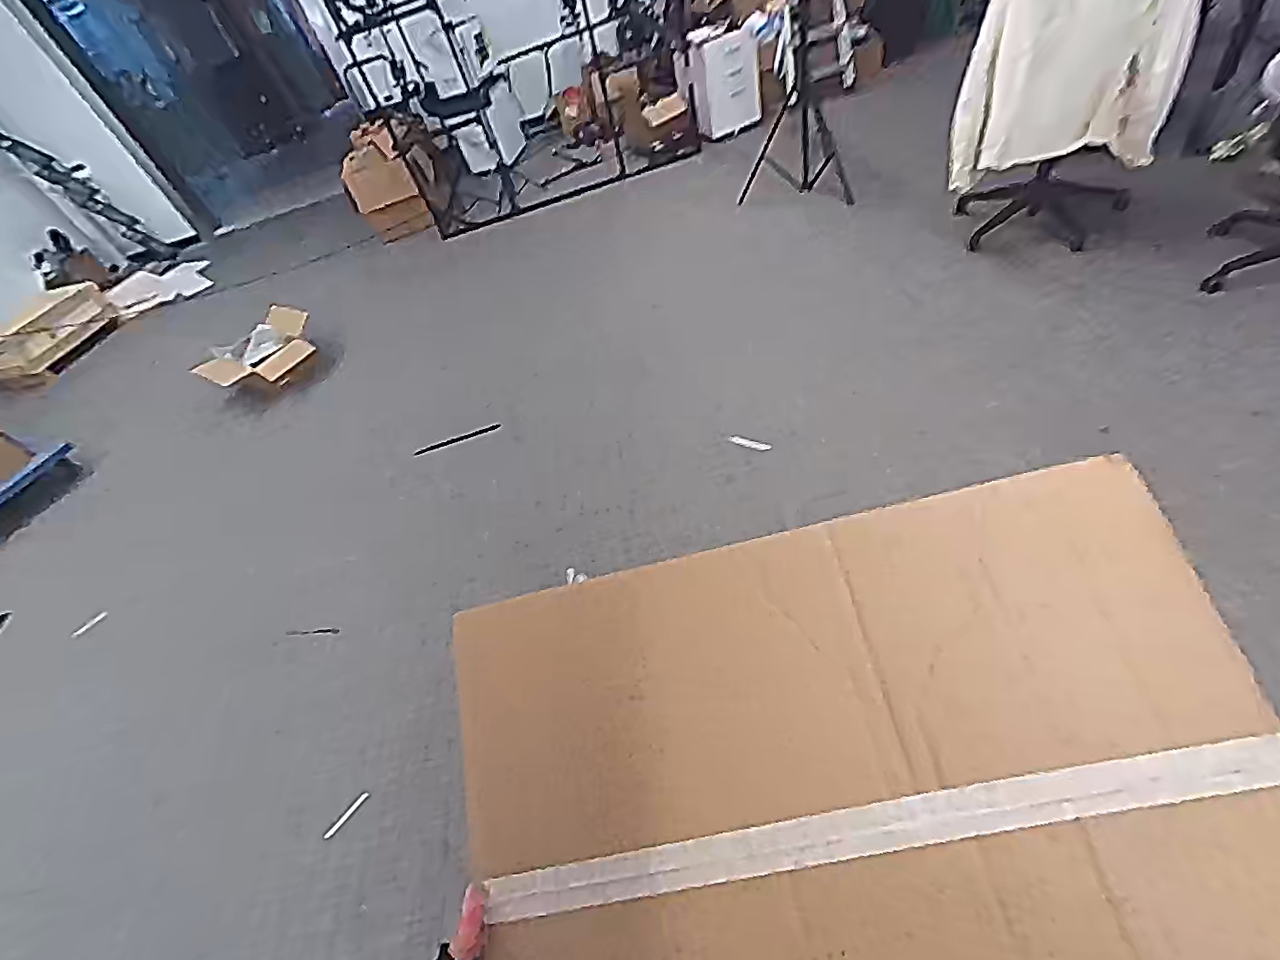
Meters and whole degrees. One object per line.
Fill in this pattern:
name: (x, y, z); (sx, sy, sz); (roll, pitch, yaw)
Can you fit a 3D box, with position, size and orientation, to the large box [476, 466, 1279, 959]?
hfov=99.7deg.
large box: (0.140, 0.230, 0.419); (0.408, 0.320, 0.320); (-15, 70, 7)
